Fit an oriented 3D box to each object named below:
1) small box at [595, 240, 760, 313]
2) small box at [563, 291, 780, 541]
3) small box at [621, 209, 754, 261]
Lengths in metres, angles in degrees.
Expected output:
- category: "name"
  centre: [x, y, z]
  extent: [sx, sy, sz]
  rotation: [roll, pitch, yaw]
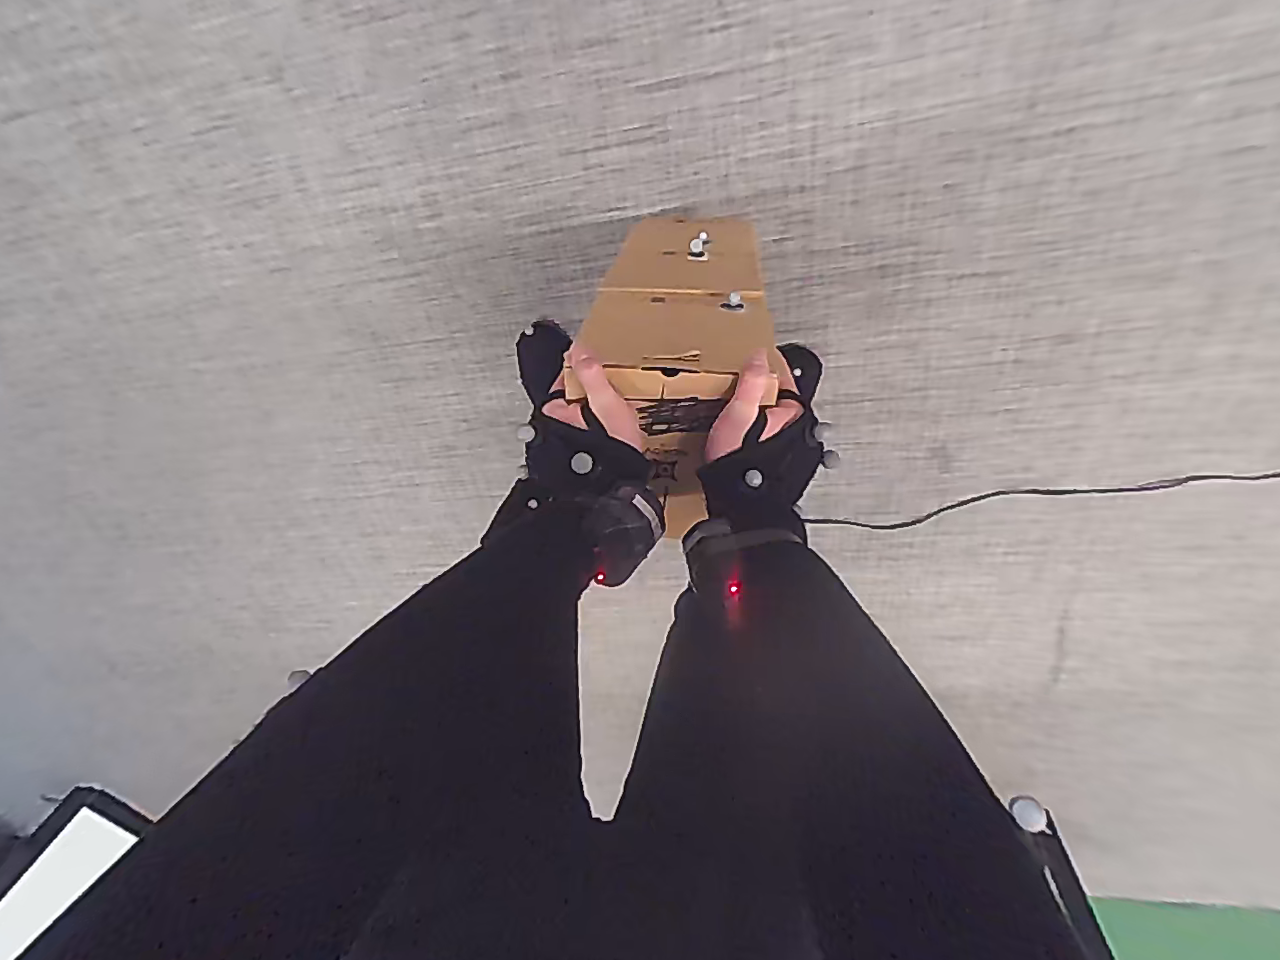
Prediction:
- category: "small box"
  centre: [0.047, -0.169, 0.638]
  extent: [0.168, 0.176, 0.179]
  rotation: [3, 127, 6]
- category: "small box"
  centre: [0.029, -0.066, 0.514]
  extent: [0.168, 0.176, 0.179]
  rotation: [4, 129, 5]
- category: "small box"
  centre: [0.068, -0.266, 0.765]
  extent: [0.168, 0.176, 0.179]
  rotation: [5, 128, 7]
